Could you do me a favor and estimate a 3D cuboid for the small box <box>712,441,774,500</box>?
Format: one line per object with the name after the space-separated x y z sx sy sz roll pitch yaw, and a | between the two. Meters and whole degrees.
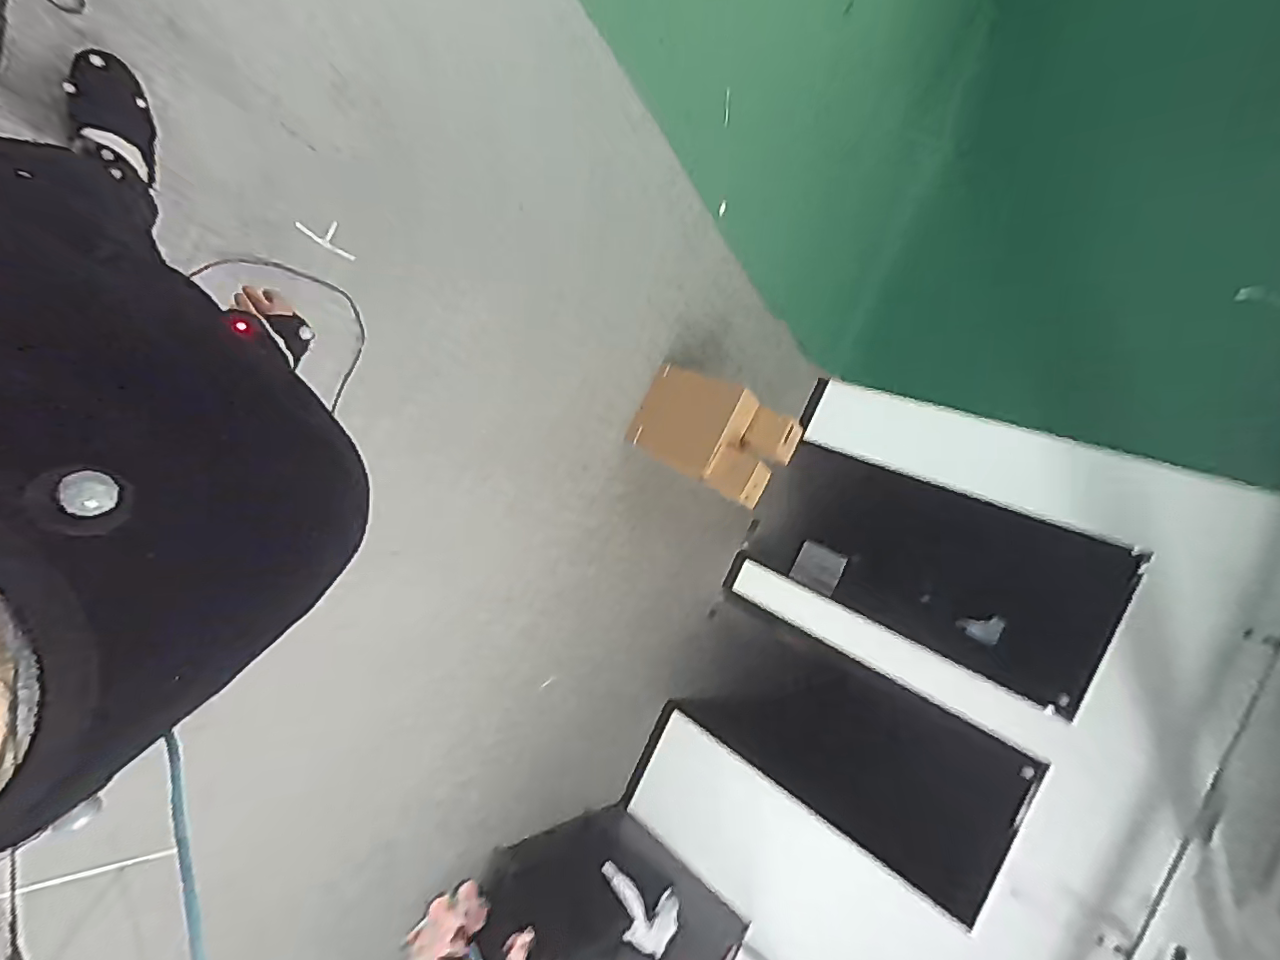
0.427 -0.044 2.258 0.168 0.176 0.179 31 86 -53 | small box
